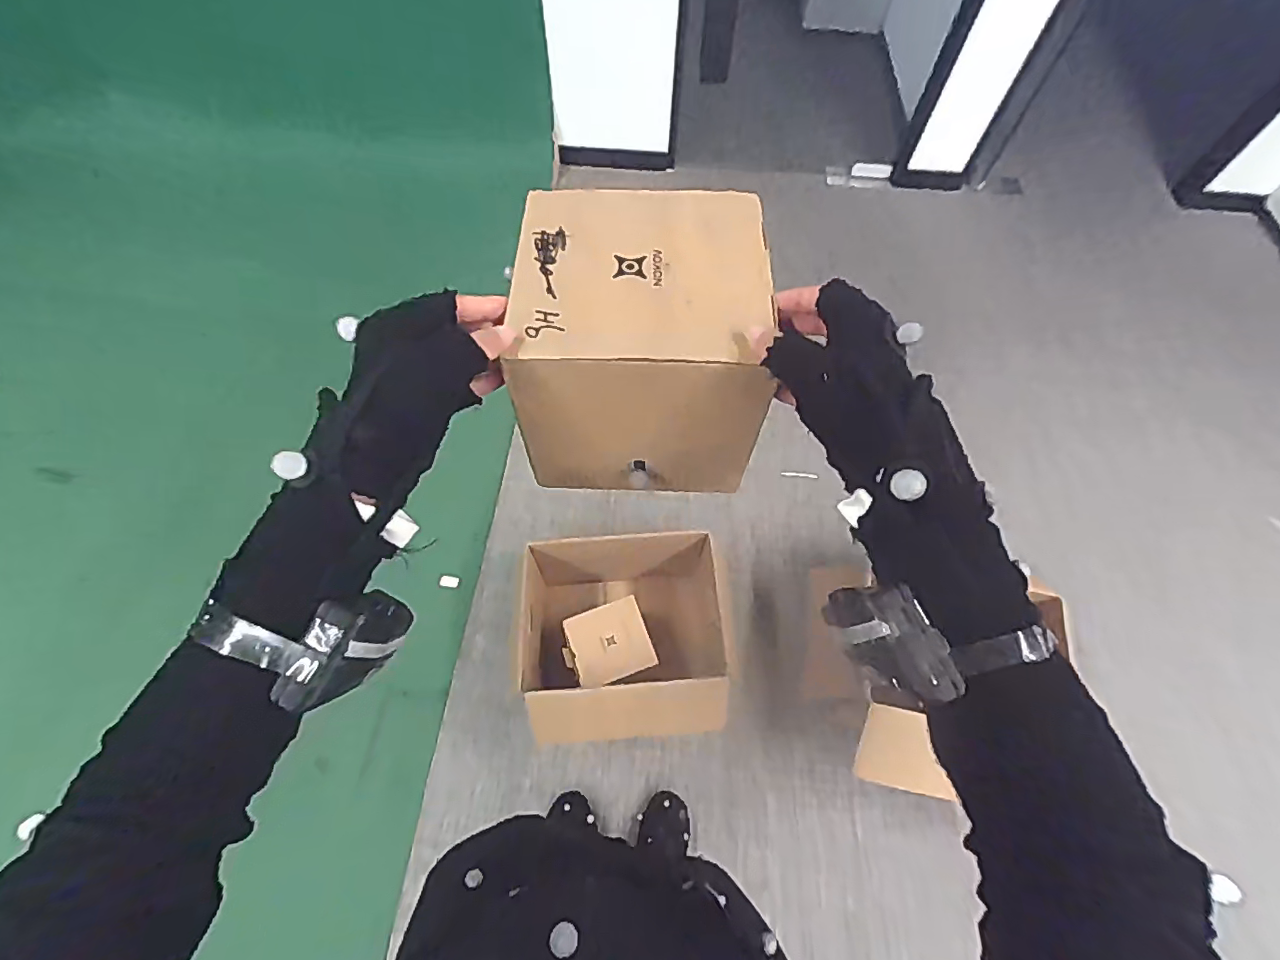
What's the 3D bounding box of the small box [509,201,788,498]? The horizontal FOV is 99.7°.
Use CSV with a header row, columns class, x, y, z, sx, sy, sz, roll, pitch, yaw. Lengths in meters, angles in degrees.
class,x,y,z,sx,sy,sz,roll,pitch,yaw
small box,0.004,-0.095,0.440,0.179,0.176,0.168,1,60,-2
